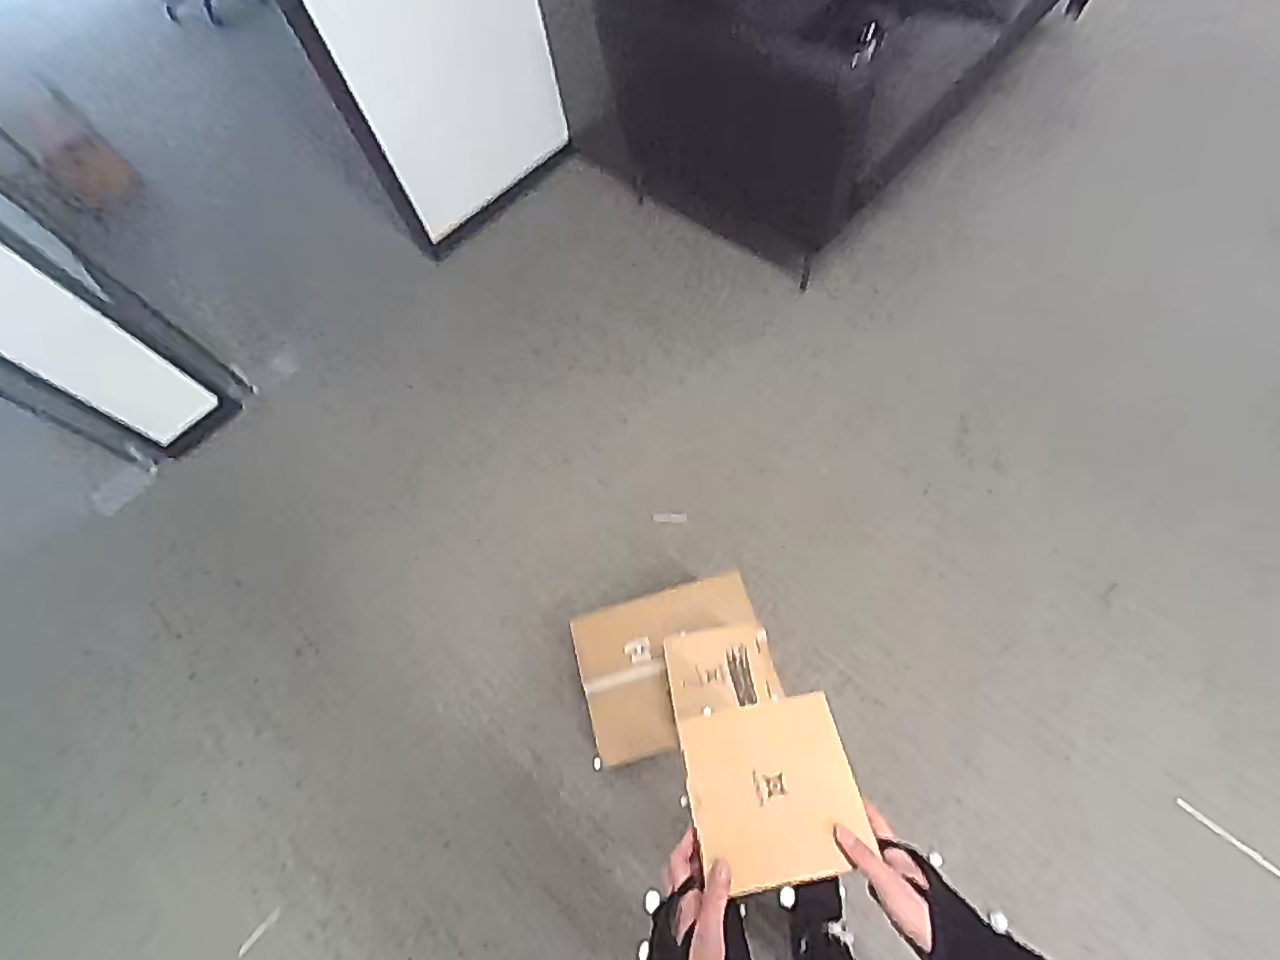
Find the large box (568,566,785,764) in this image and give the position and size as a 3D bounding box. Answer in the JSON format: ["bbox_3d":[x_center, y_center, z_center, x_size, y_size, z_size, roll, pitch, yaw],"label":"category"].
[{"bbox_3d":[0.085,0.444,1.290,0.408,0.320,0.320,-17,63,-1],"label":"large box"}]

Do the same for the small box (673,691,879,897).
[{"bbox_3d":[0.142,0.362,0.627,0.179,0.176,0.168,-12,55,0],"label":"small box"}]
